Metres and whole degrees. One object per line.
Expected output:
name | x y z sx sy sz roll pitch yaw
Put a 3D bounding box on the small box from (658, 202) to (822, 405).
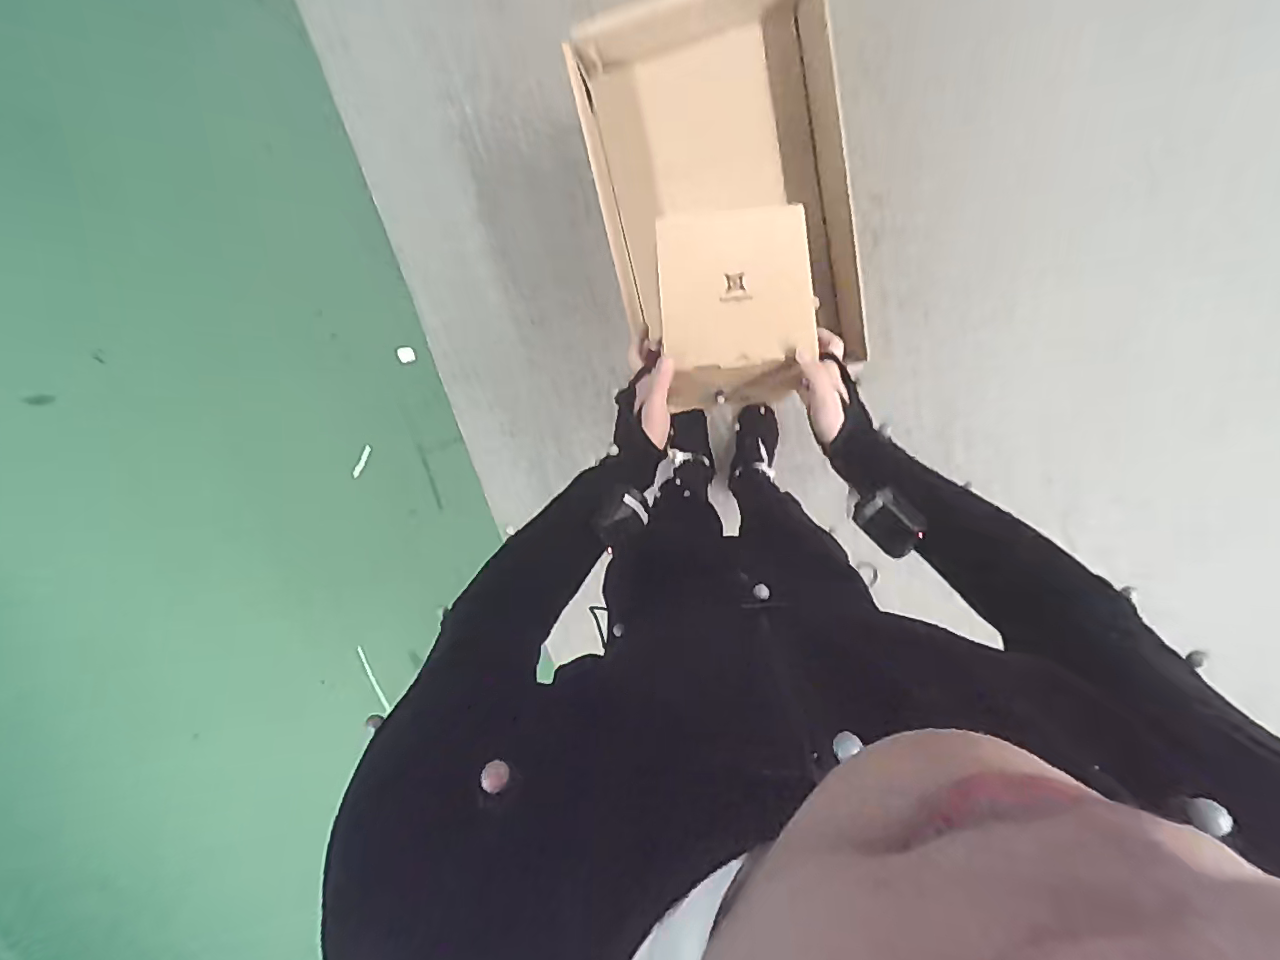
small box | 0.110 -0.200 0.654 0.168 0.176 0.179 -5 86 4
